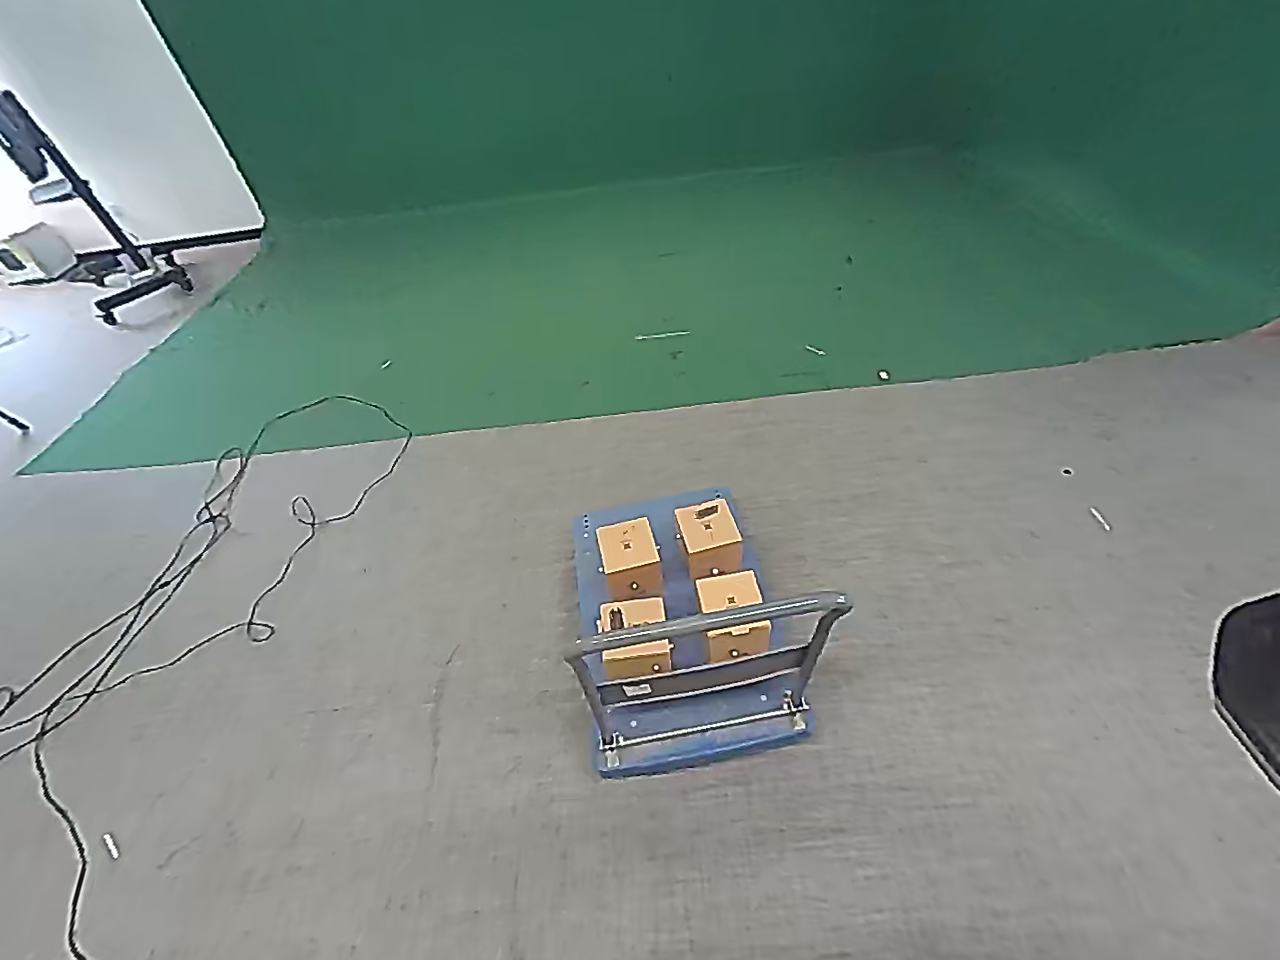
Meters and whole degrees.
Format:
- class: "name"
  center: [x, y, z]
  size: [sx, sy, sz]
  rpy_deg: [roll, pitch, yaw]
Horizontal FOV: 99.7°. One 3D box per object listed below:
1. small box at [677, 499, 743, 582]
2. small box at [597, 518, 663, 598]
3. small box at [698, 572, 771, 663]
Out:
- class: "small box"
  center: [0.215, 0.191, 1.694]
  size: [0.168, 0.176, 0.179]
  rpy_deg: [-13, 48, -3]
- class: "small box"
  center: [-0.029, 0.248, 1.675]
  size: [0.168, 0.176, 0.179]
  rpy_deg: [-12, 47, -5]
- class: "small box"
  center: [0.256, 0.384, 1.509]
  size: [0.168, 0.176, 0.179]
  rpy_deg: [-9, 47, -1]
